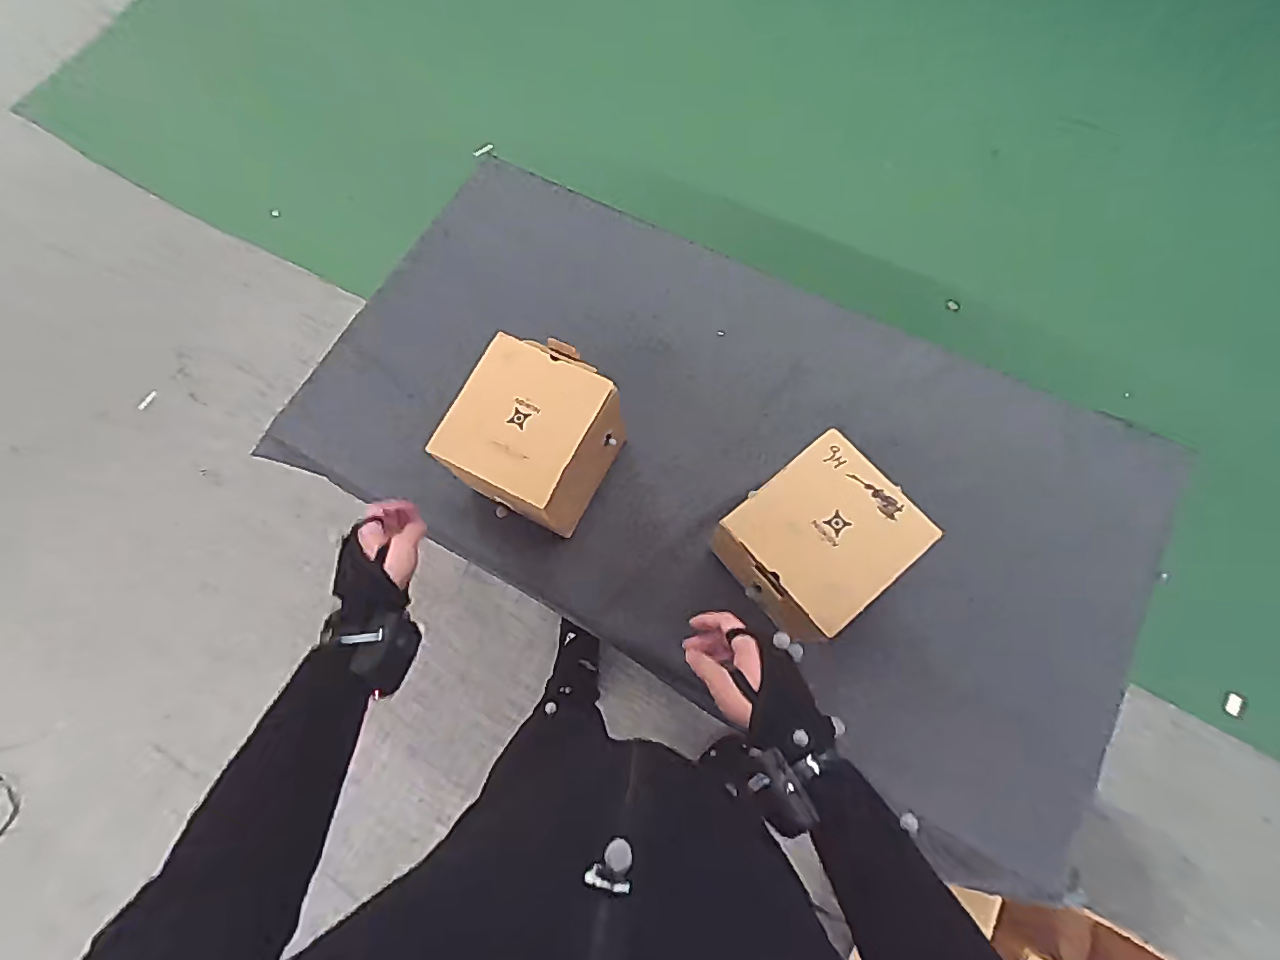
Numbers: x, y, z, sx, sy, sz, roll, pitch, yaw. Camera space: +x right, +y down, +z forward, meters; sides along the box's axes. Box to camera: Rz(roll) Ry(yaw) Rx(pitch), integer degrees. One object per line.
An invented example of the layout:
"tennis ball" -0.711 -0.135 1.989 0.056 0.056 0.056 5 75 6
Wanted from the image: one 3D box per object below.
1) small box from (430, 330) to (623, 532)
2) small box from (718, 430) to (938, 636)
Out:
"small box" -0.131 -0.054 0.706 0.168 0.176 0.179 26 76 11
"small box" 0.211 0.076 0.665 0.179 0.176 0.168 -39 75 -8
